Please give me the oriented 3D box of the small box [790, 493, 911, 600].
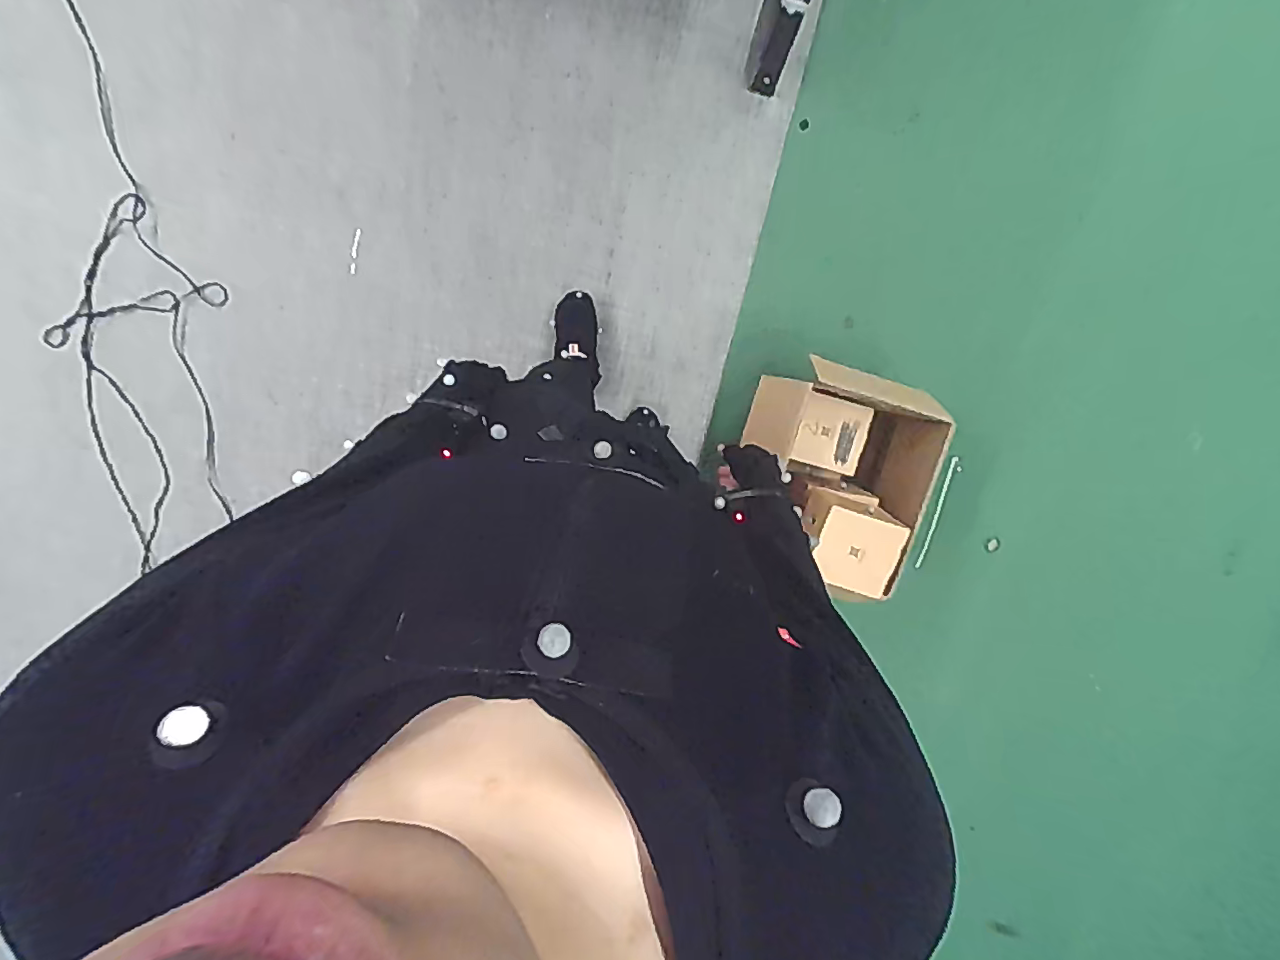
[{"bbox_3d":[0.455,0.138,1.204,0.179,0.176,0.168,18,102,-2],"label":"small box"}]
